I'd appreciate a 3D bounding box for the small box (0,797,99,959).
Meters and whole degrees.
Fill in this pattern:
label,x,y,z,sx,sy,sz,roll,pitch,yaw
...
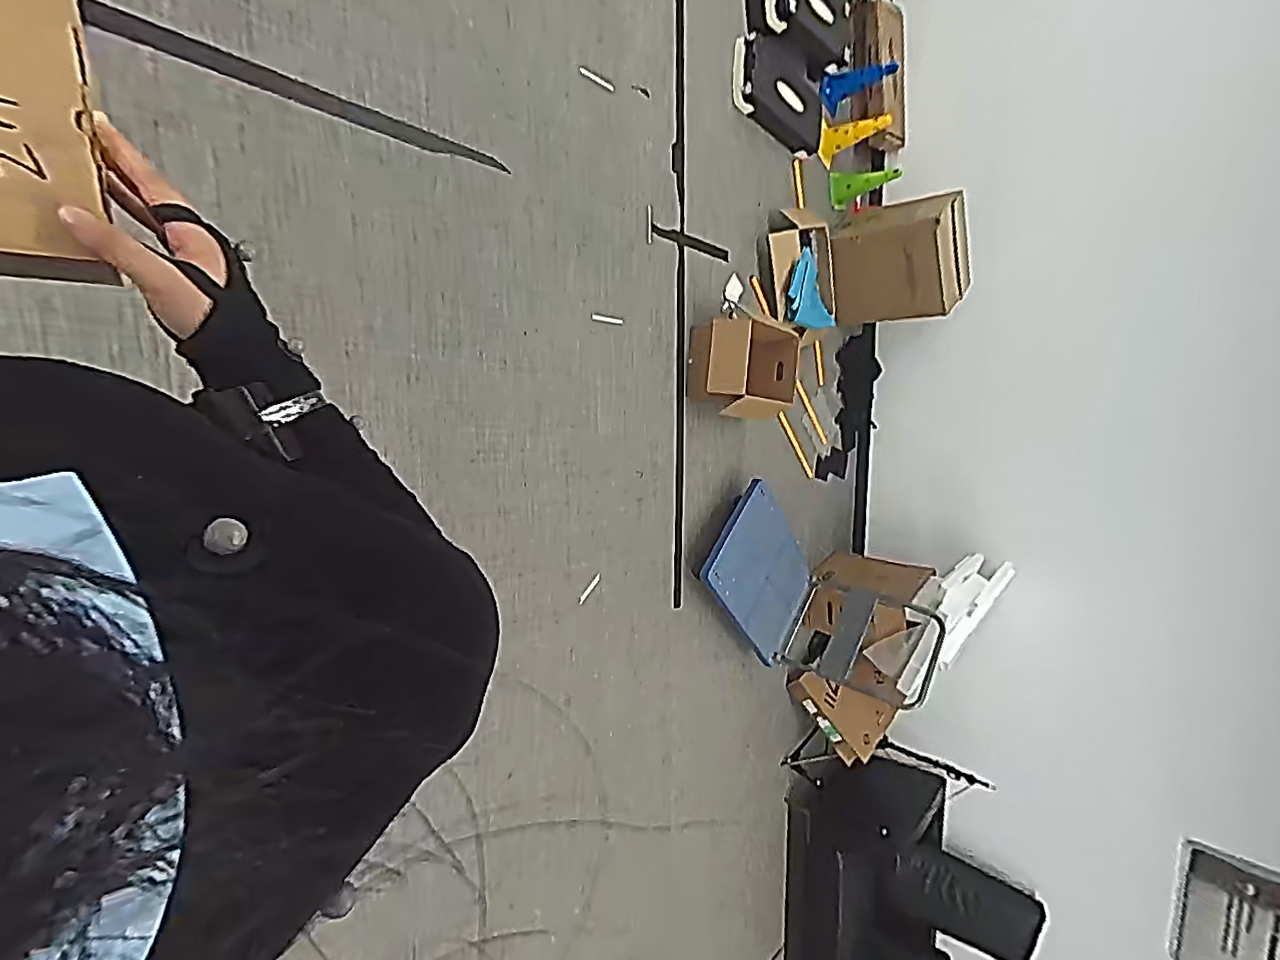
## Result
label,x,y,z,sx,sy,sz,roll,pitch,yaw
small box,-1.130,0.738,0.997,0.168,0.176,0.179,-15,105,-45

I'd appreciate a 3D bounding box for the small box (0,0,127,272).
label,x,y,z,sx,sy,sz,roll,pitch,yaw
small box,-0.450,-0.230,0.334,0.179,0.176,0.168,-9,107,-41
